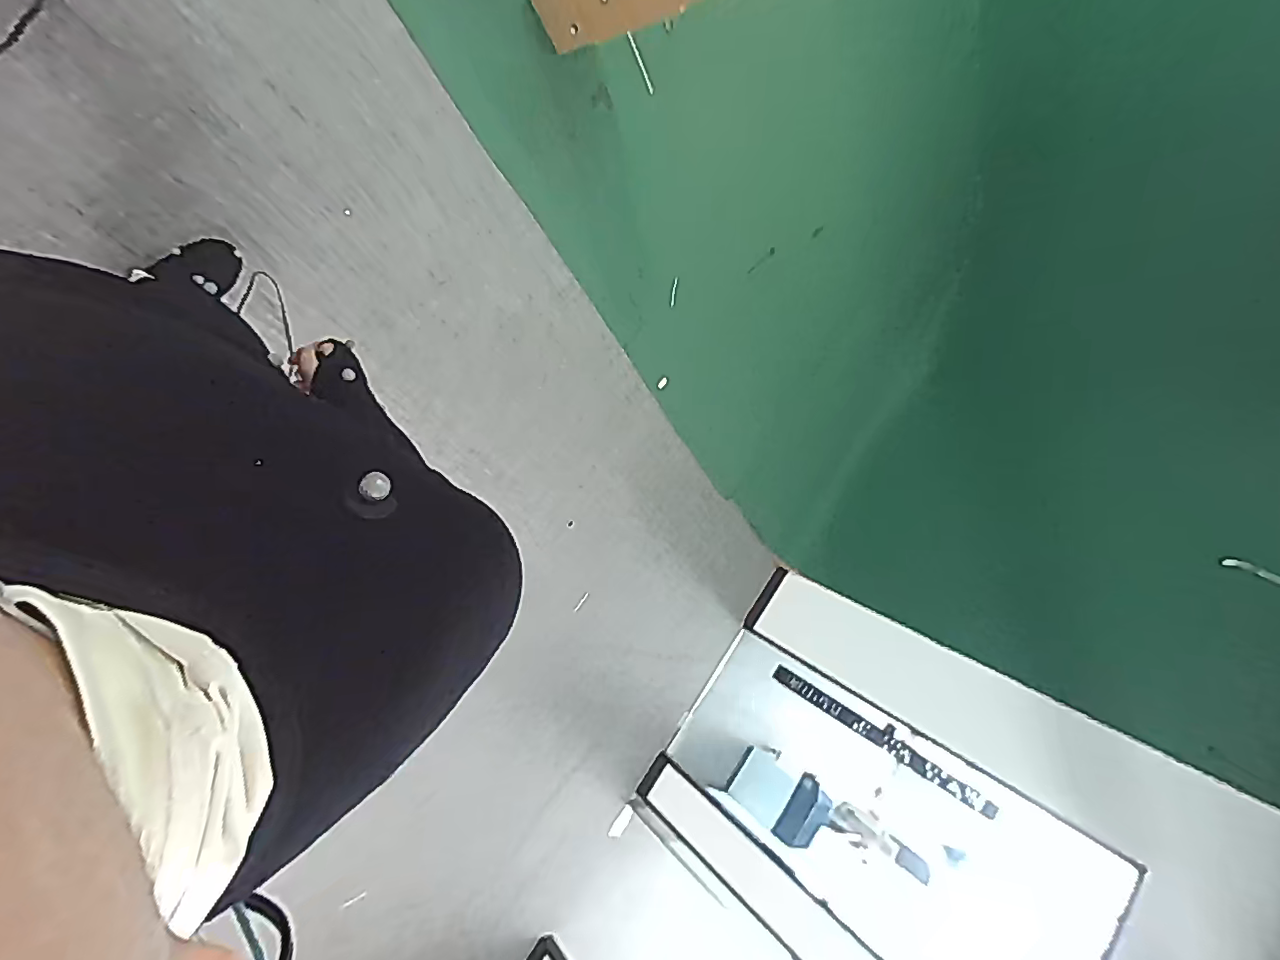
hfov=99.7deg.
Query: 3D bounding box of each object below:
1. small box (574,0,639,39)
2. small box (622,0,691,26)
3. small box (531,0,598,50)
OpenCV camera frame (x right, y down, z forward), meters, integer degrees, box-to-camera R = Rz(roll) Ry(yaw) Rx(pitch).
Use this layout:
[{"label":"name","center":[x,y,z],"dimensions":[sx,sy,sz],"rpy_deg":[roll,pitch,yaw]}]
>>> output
[{"label":"small box","center":[-0.066,-1.294,1.406],"dimensions":[0.168,0.176,0.179],"rpy_deg":[-55,136,-10]},{"label":"small box","center":[0.043,-1.245,1.294],"dimensions":[0.168,0.176,0.179],"rpy_deg":[-56,137,-9]},{"label":"small box","center":[-0.179,-1.346,1.510],"dimensions":[0.168,0.176,0.179],"rpy_deg":[-53,136,-13]}]
